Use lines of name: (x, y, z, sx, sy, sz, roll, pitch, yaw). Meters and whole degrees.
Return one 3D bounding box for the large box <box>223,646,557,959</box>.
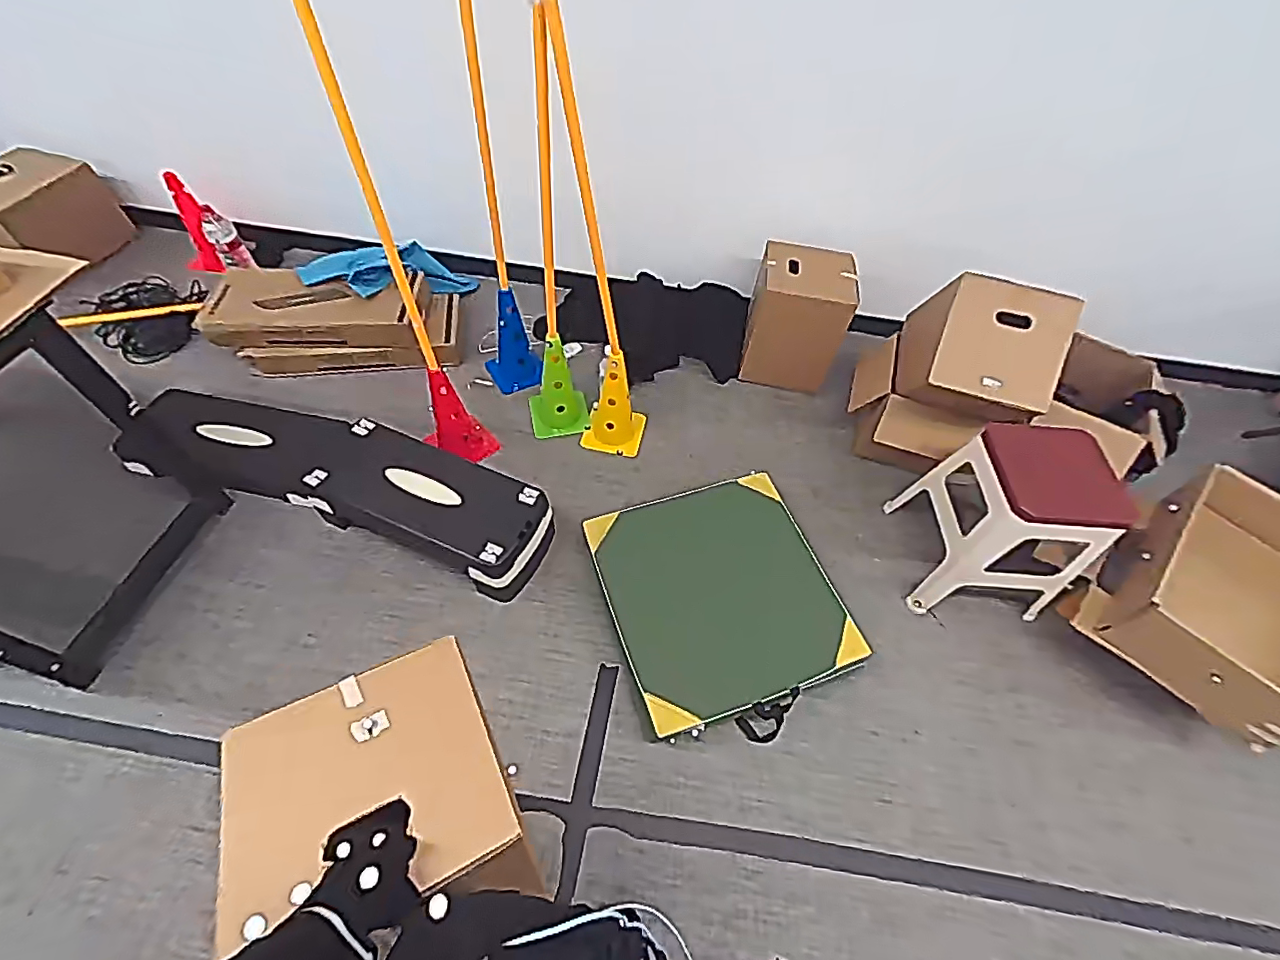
large box: (-0.350, 0.530, 0.810, 0.320, 0.408, 0.320, -20, 44, -21)
